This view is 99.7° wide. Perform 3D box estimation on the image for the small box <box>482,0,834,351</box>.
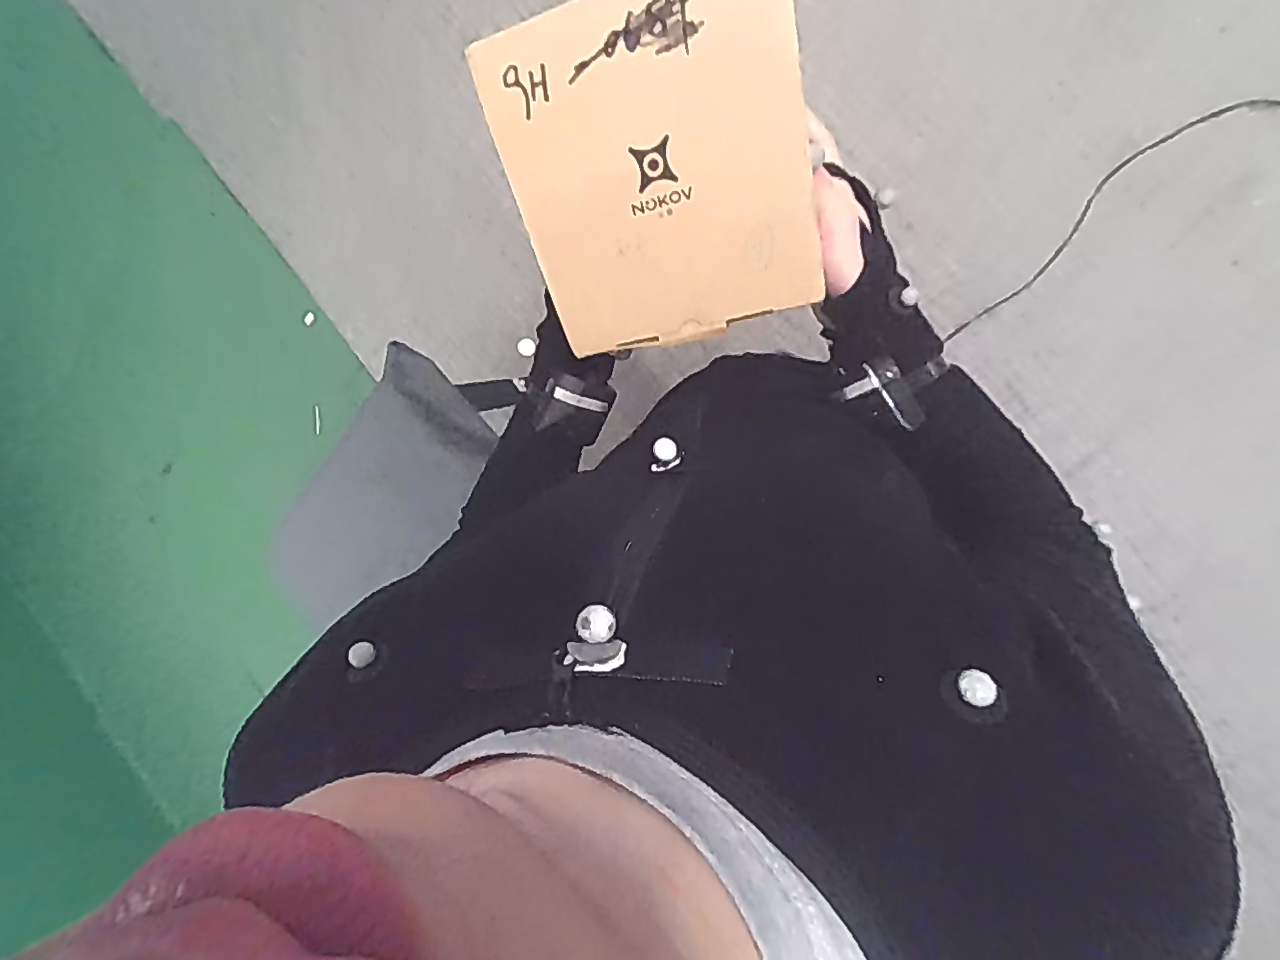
[{"bbox_3d":[0.030,-0.213,0.364,0.168,0.176,0.179,-9,122,17],"label":"small box"}]
